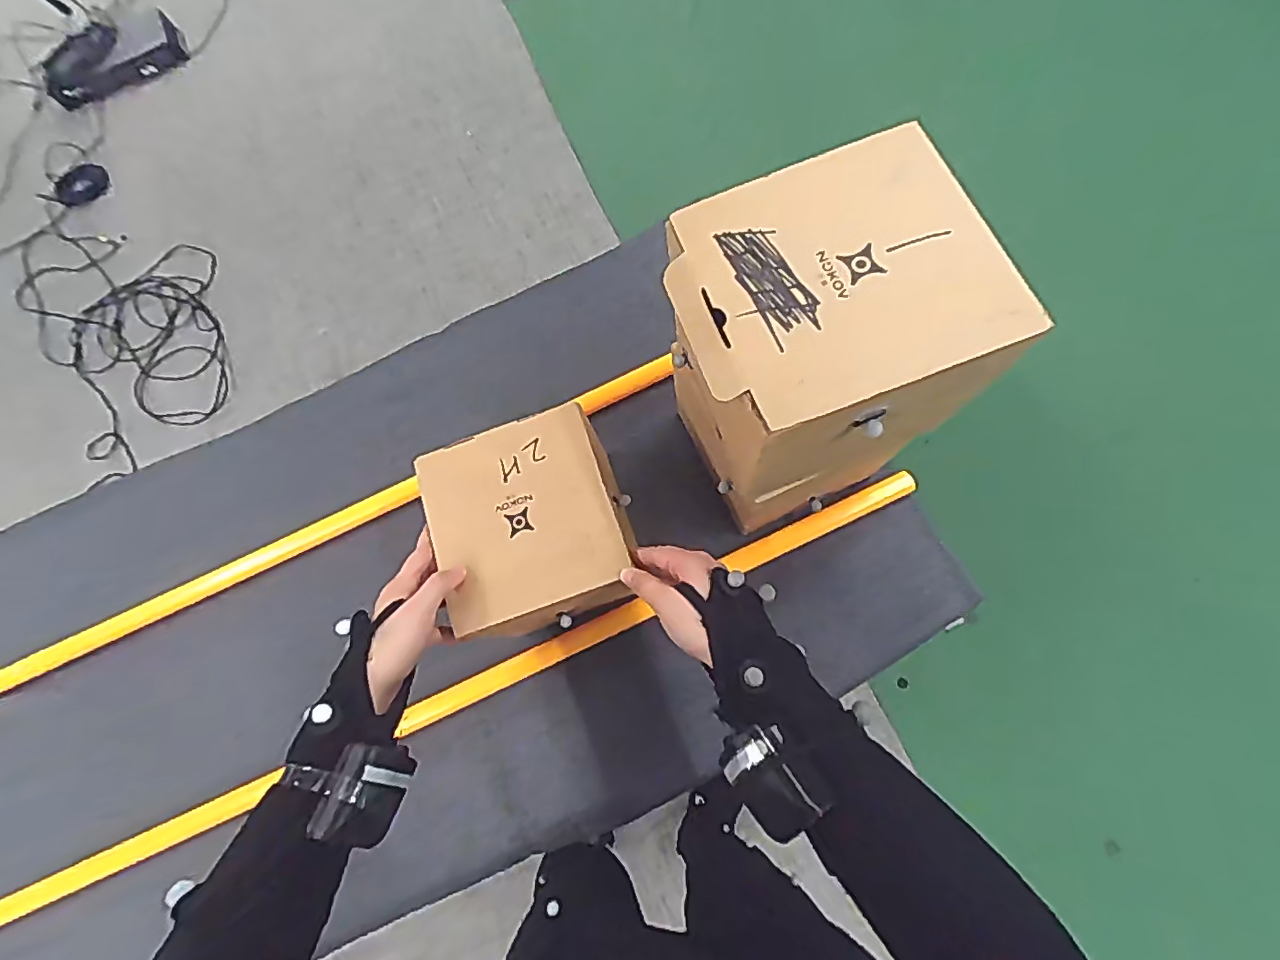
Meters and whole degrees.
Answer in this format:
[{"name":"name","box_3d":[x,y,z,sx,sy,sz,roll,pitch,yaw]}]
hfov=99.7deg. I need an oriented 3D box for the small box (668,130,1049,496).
[{"name":"small box","box_3d":[0.133,-0.103,0.403,0.179,0.176,0.168,-21,74,0]}]
